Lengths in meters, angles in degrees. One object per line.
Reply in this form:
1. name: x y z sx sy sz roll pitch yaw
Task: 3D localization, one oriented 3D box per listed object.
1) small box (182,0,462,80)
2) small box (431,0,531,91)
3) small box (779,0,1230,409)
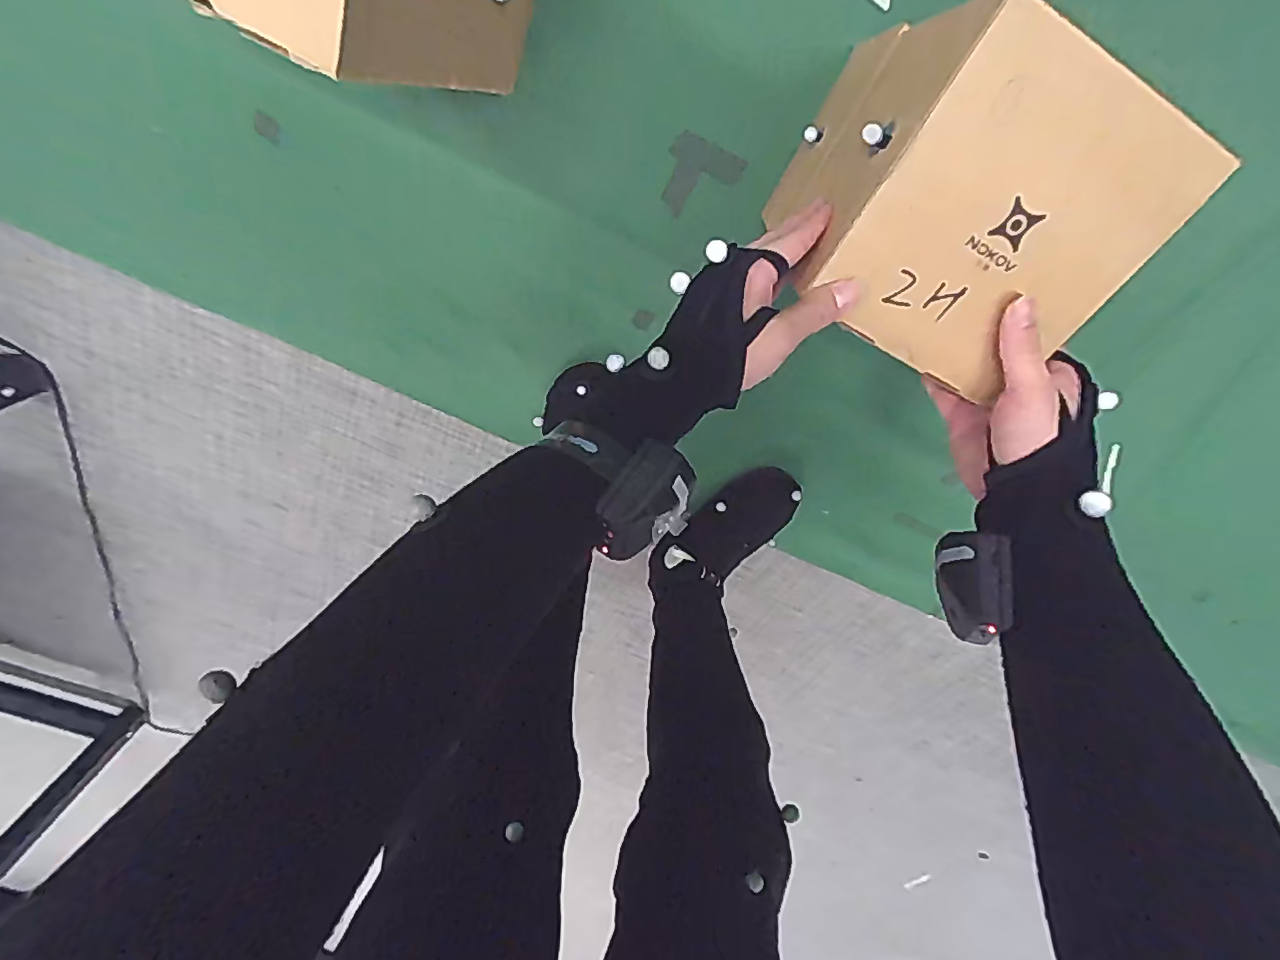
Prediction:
1. small box: -0.208 -0.379 0.331 0.168 0.176 0.179 23 124 -9
2. small box: -0.190 -0.471 0.465 0.168 0.176 0.179 24 125 -9
3. small box: 0.221 -0.189 0.390 0.168 0.176 0.179 25 122 -12
